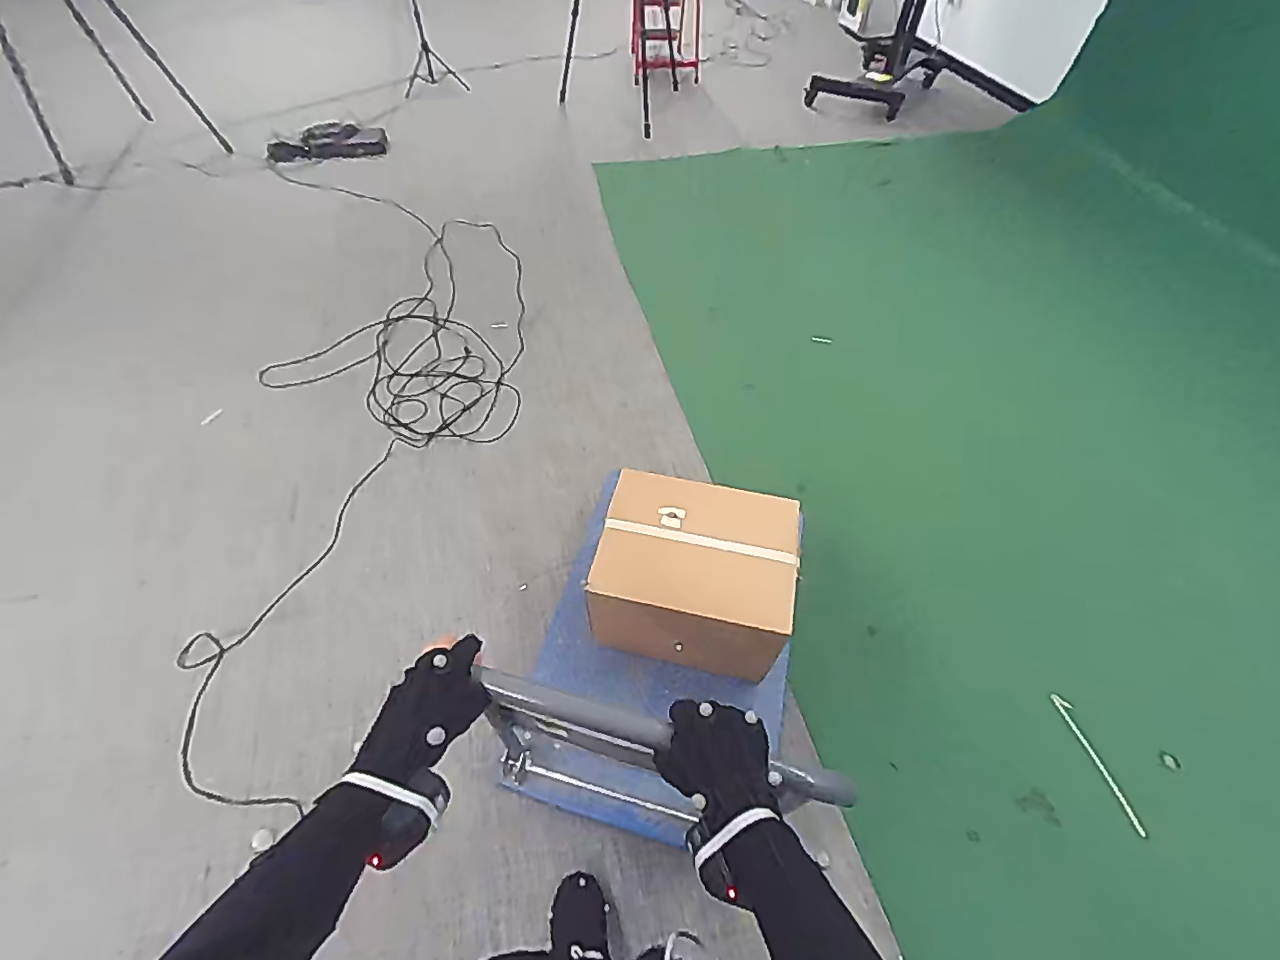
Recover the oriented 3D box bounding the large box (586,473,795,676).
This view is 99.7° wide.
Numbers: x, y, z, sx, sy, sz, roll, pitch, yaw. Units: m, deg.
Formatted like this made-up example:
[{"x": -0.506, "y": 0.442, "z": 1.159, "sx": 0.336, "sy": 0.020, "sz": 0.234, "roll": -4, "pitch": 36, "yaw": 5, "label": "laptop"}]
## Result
[{"x": 0.119, "y": 0.223, "z": 1.246, "sx": 0.408, "sy": 0.320, "sz": 0.320, "roll": 10, "pitch": 54, "yaw": 8, "label": "large box"}]
